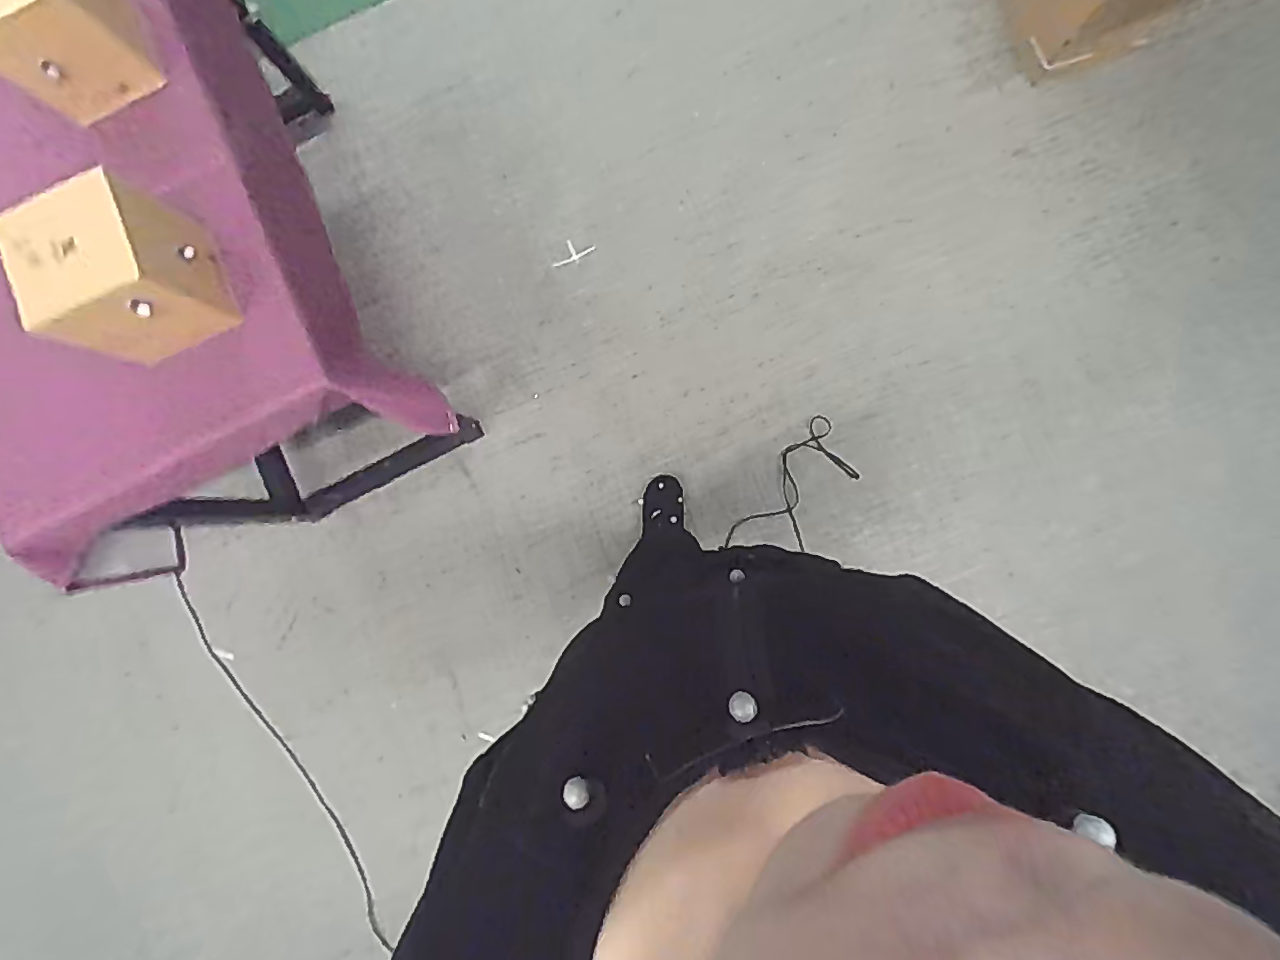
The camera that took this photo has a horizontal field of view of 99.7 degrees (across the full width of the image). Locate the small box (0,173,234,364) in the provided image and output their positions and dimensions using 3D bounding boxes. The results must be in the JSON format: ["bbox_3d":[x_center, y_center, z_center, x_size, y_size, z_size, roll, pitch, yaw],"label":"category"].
[{"bbox_3d":[-0.736,-0.290,0.780,0.179,0.176,0.168,-23,85,4],"label":"small box"}]

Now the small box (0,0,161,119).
[{"bbox_3d":[-0.884,-0.690,0.814,0.168,0.176,0.179,-25,85,4],"label":"small box"}]
